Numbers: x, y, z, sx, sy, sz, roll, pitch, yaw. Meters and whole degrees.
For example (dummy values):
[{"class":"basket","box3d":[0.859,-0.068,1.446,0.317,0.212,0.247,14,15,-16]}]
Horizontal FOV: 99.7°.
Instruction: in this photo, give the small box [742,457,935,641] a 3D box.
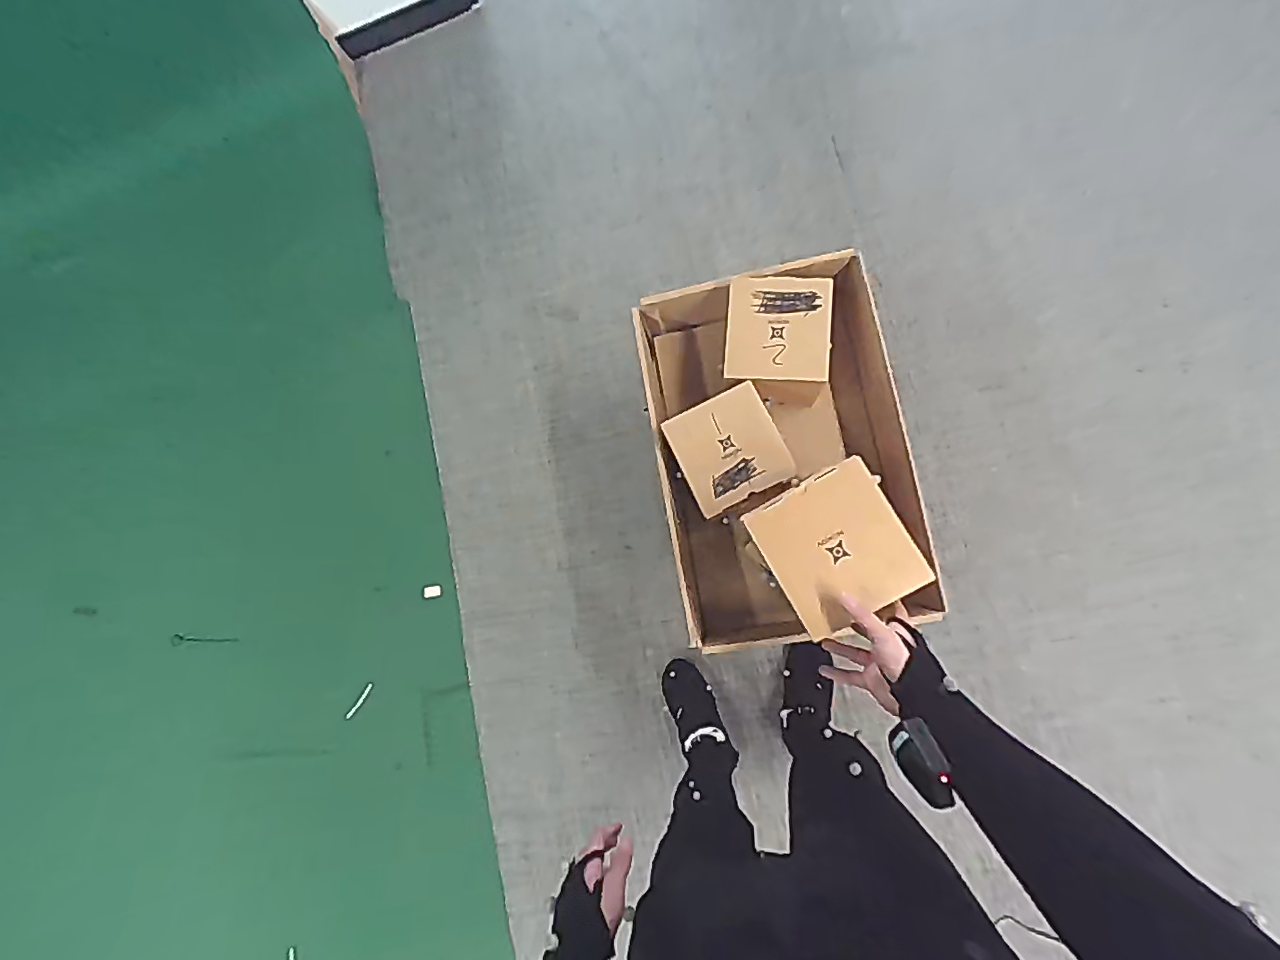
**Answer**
[{"class":"small box","box3d":[0.253,0.089,0.734,0.168,0.176,0.179,-31,80,6]}]
